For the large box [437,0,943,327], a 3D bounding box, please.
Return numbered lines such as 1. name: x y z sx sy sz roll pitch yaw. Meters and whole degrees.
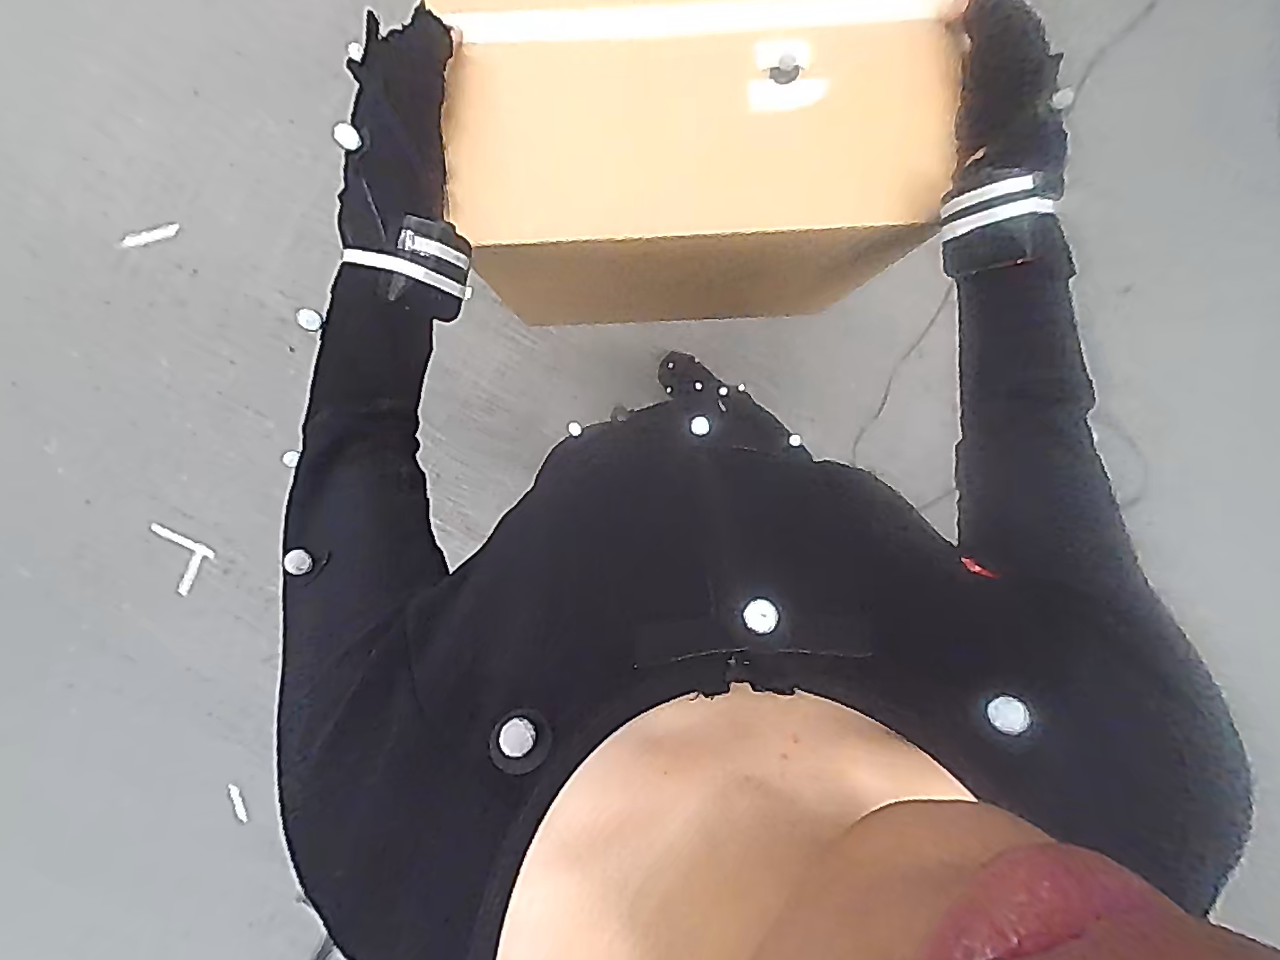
1. large box: 0.036 -0.366 0.580 0.408 0.320 0.320 -4 94 -1
